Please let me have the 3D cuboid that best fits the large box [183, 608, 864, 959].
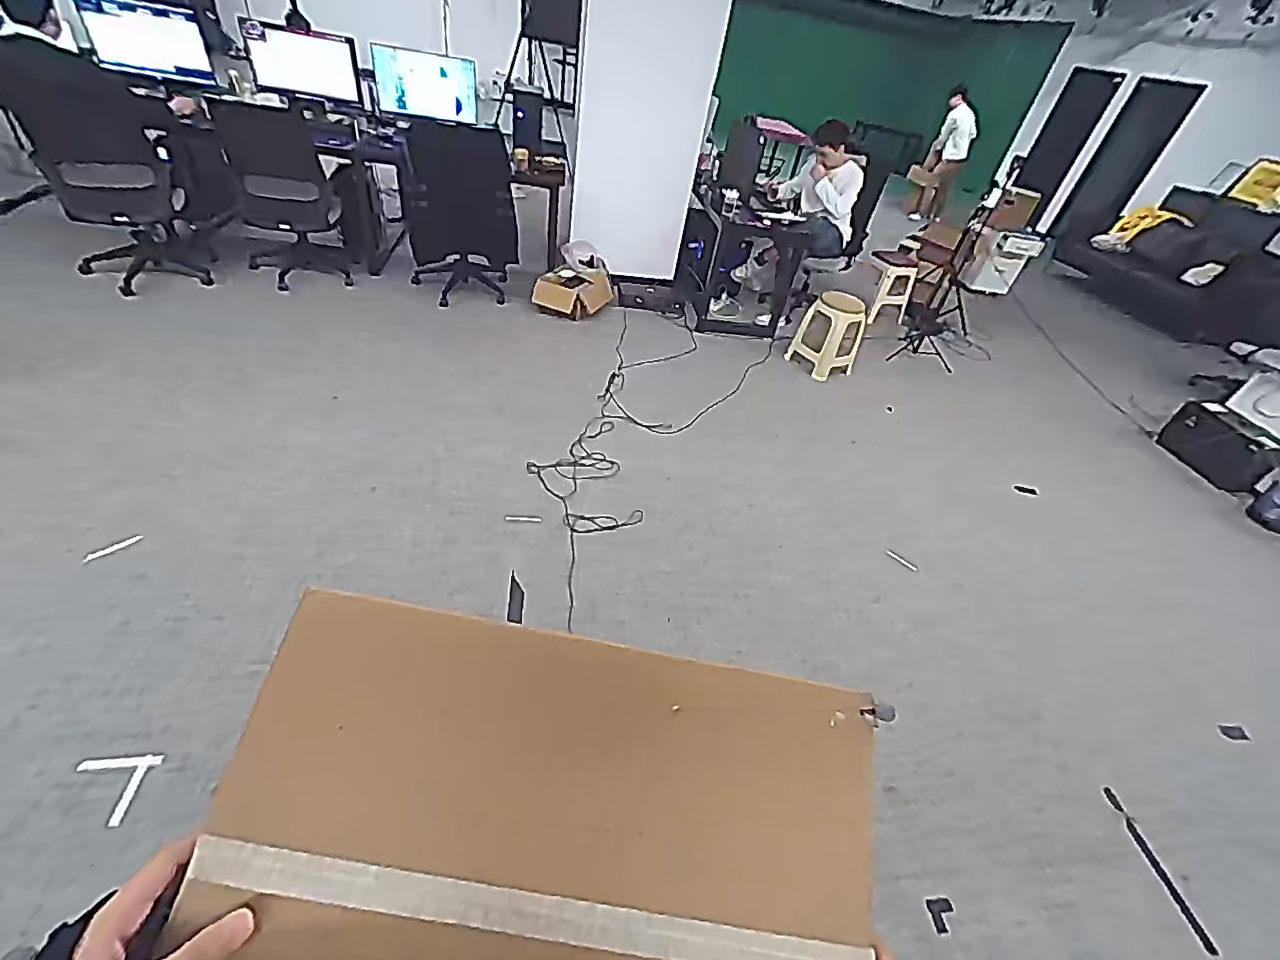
[{"bbox_3d":[-0.073,0.317,0.469,0.408,0.320,0.320,11,68,-3],"label":"large box"}]
